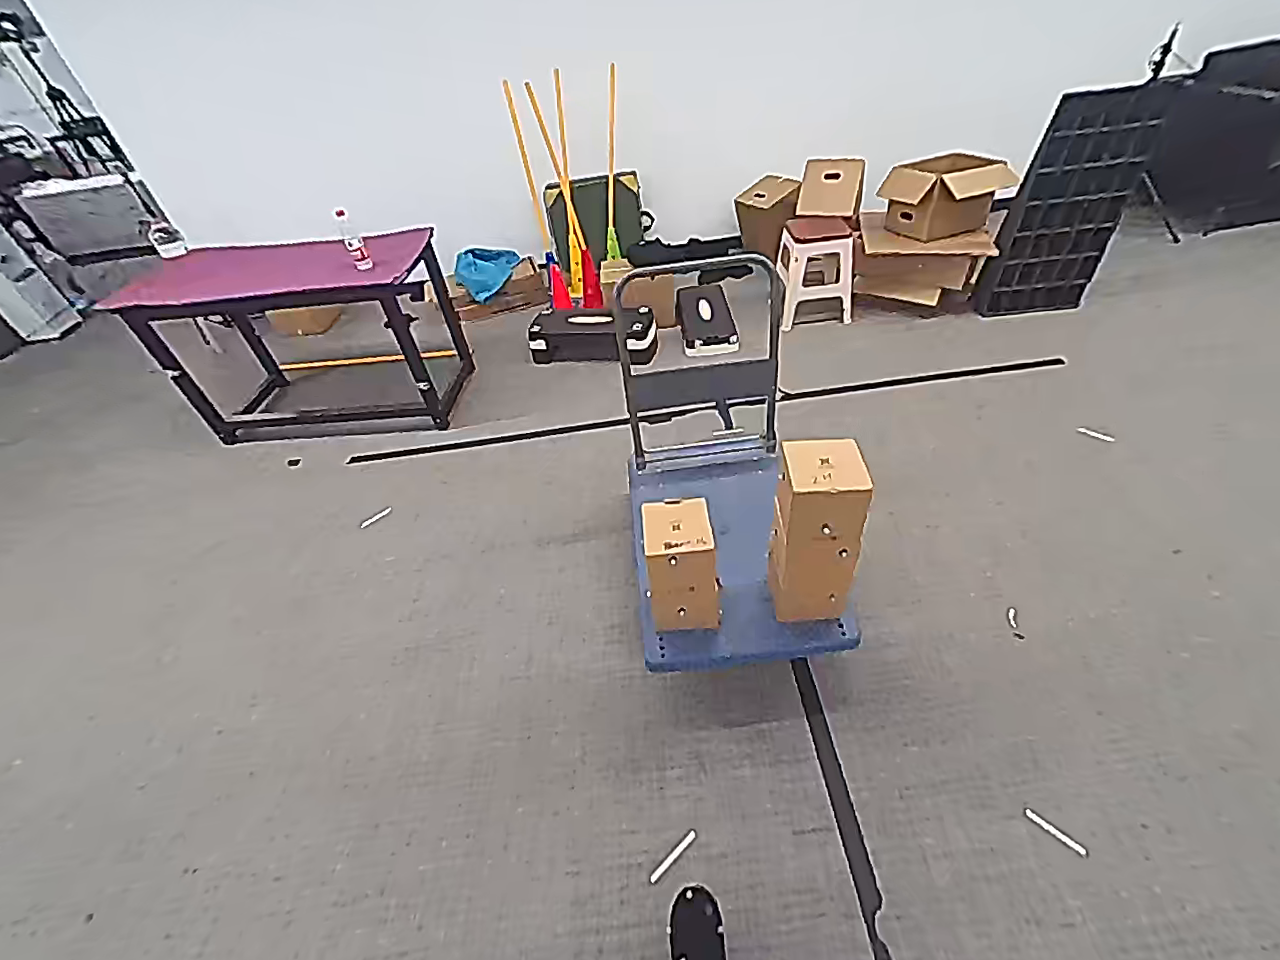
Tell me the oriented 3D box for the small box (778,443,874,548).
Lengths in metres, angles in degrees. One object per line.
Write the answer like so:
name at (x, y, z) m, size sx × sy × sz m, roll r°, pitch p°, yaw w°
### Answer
small box at (0.413, 0.035, 1.235) m, size 0.168 × 0.176 × 0.179 m, roll -2°, pitch 42°, yaw 6°

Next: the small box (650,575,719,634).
small box at (0.121, 0.303, 1.475) m, size 0.179 × 0.176 × 0.168 m, roll -5°, pitch 42°, yaw 5°

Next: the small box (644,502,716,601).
small box at (0.099, 0.181, 1.367) m, size 0.168 × 0.176 × 0.179 m, roll -6°, pitch 41°, yaw 2°

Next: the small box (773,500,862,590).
small box at (0.429, 0.159, 1.342) m, size 0.179 × 0.176 × 0.168 m, roll -3°, pitch 42°, yaw 4°
